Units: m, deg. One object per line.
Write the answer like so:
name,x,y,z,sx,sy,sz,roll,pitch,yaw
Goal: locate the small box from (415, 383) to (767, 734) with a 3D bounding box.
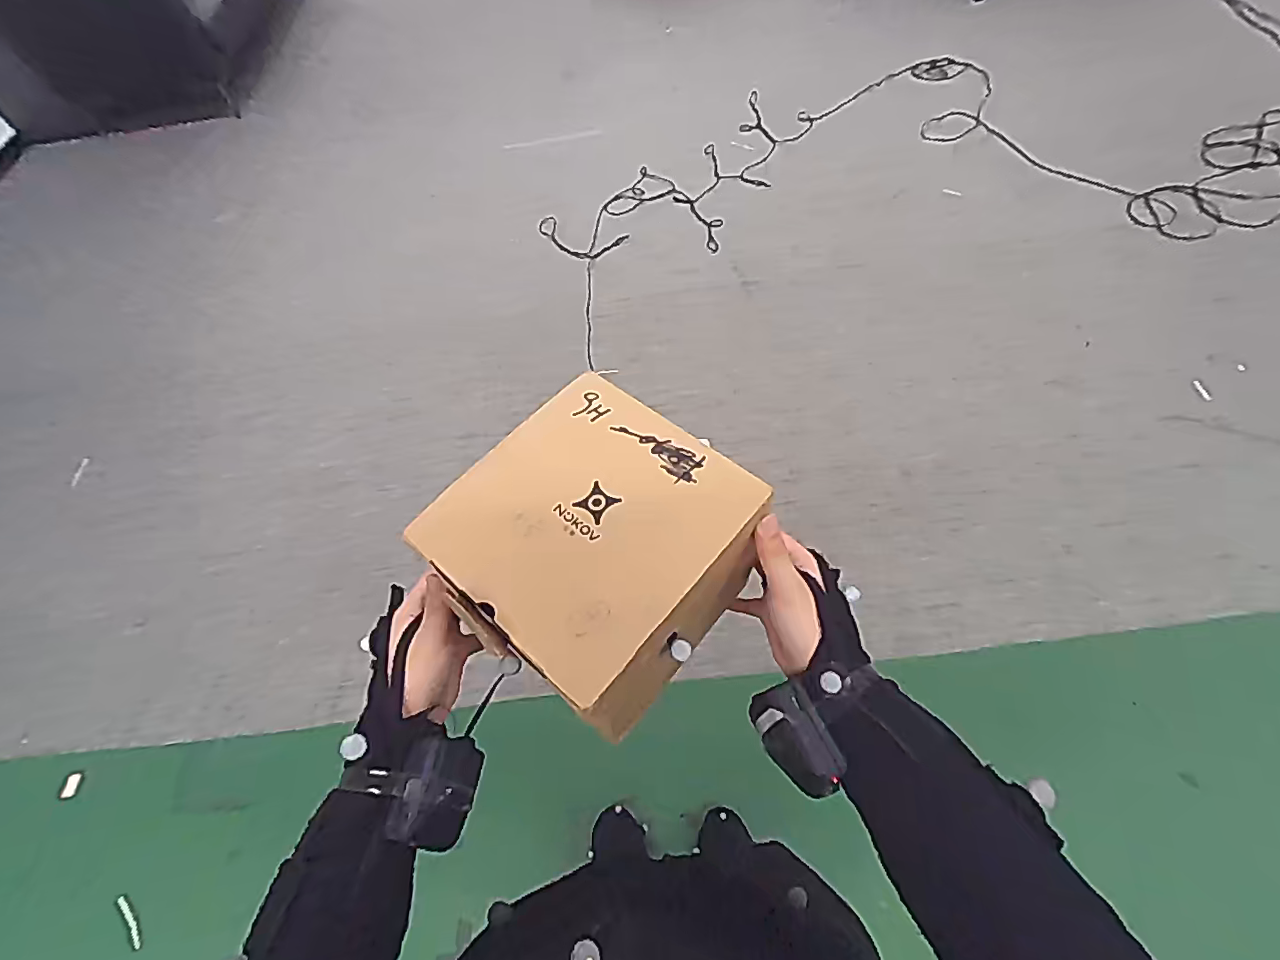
small box,-0.025,0.067,0.416,0.168,0.176,0.179,36,68,23
